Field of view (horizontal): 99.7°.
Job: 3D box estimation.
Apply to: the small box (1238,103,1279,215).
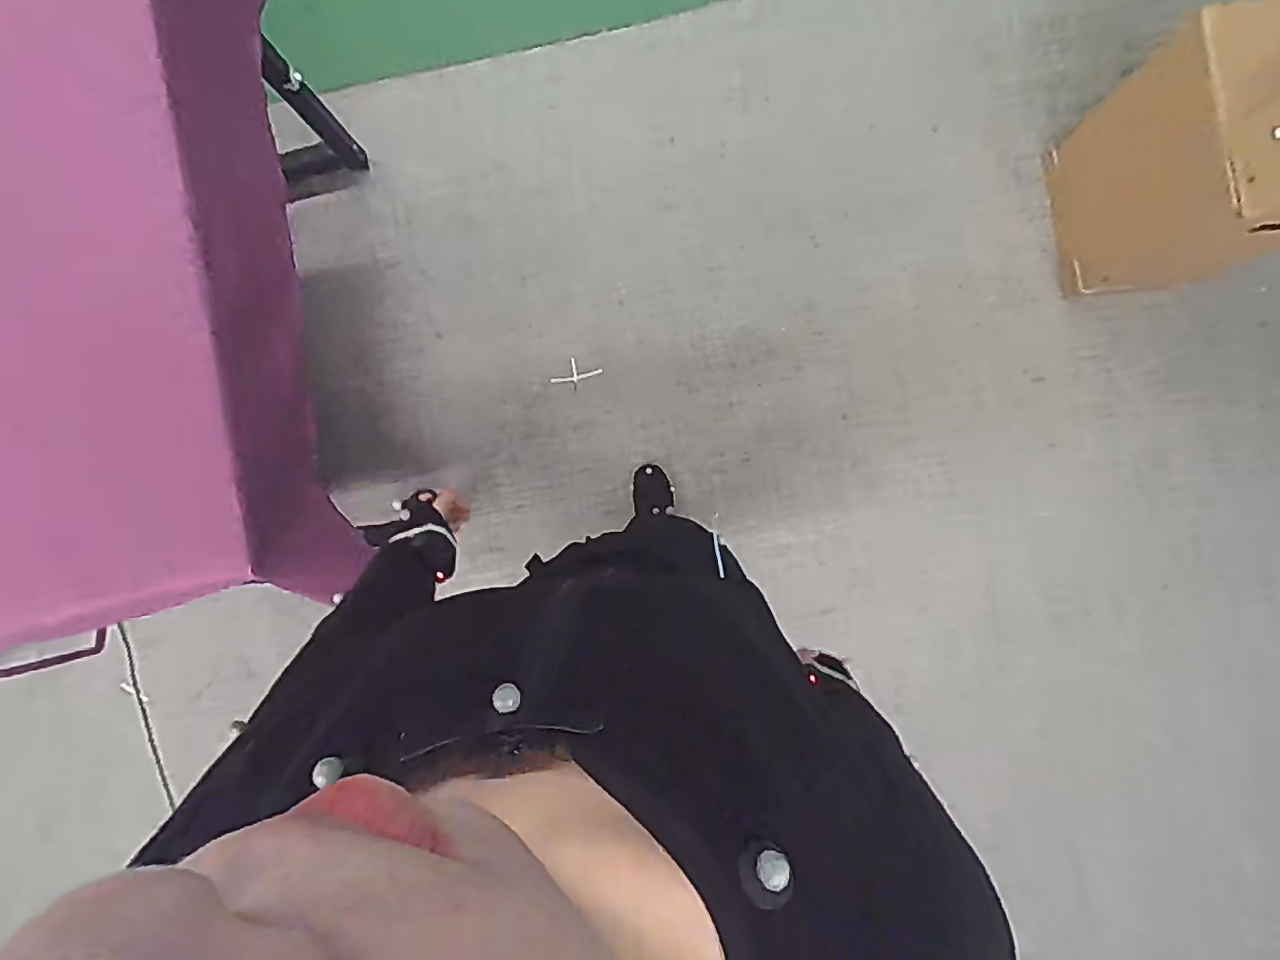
[{"bbox_3d":[1.187,-0.578,0.919,0.179,0.176,0.168,-7,87,3],"label":"small box"}]
